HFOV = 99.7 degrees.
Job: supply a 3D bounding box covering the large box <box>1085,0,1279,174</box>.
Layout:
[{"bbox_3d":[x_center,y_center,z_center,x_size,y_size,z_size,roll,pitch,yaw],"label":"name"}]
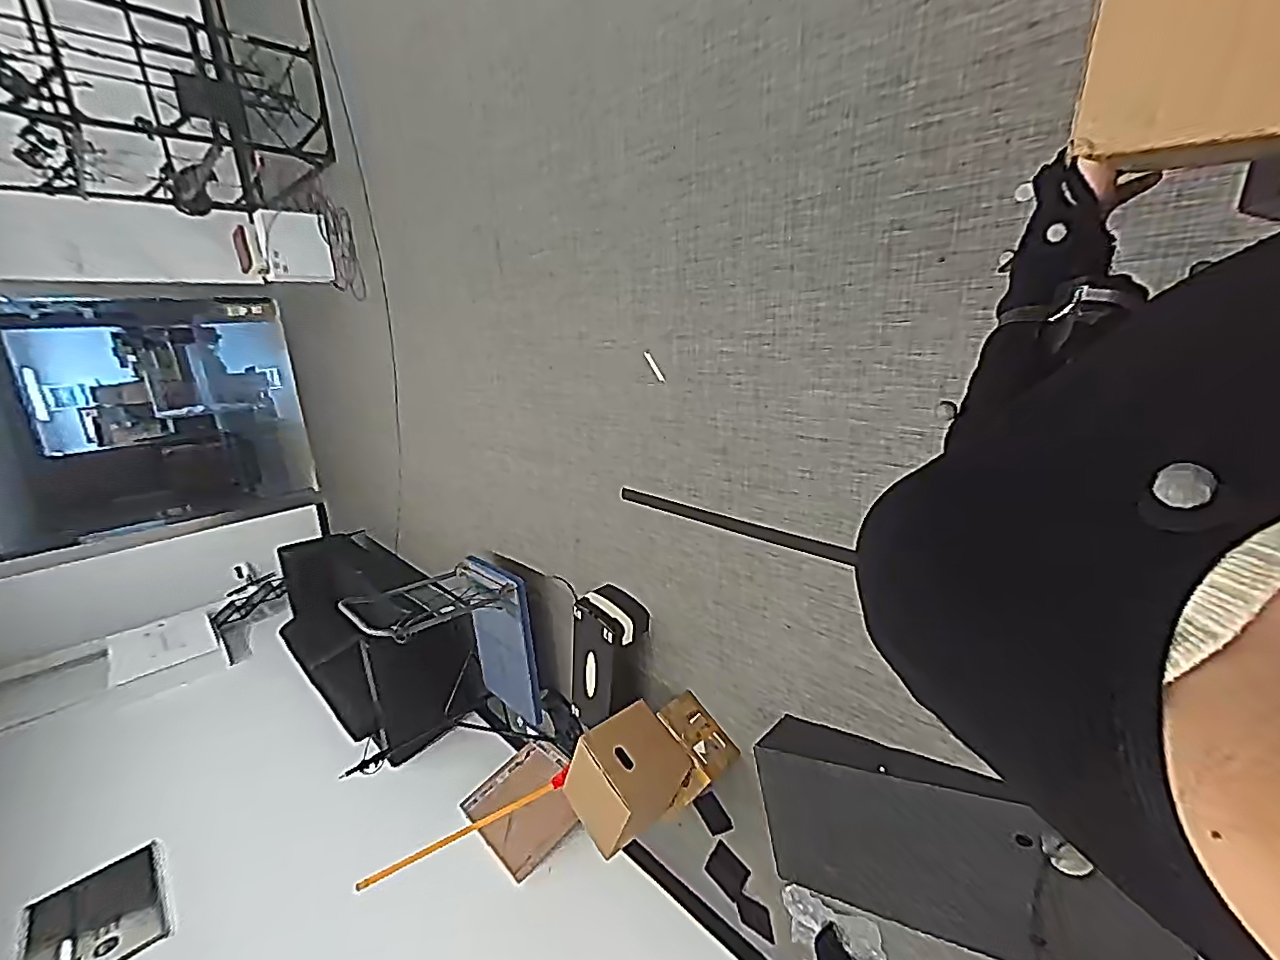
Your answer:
[{"bbox_3d":[0.435,-0.304,0.168,0.408,0.320,0.320,15,122,39],"label":"large box"}]
